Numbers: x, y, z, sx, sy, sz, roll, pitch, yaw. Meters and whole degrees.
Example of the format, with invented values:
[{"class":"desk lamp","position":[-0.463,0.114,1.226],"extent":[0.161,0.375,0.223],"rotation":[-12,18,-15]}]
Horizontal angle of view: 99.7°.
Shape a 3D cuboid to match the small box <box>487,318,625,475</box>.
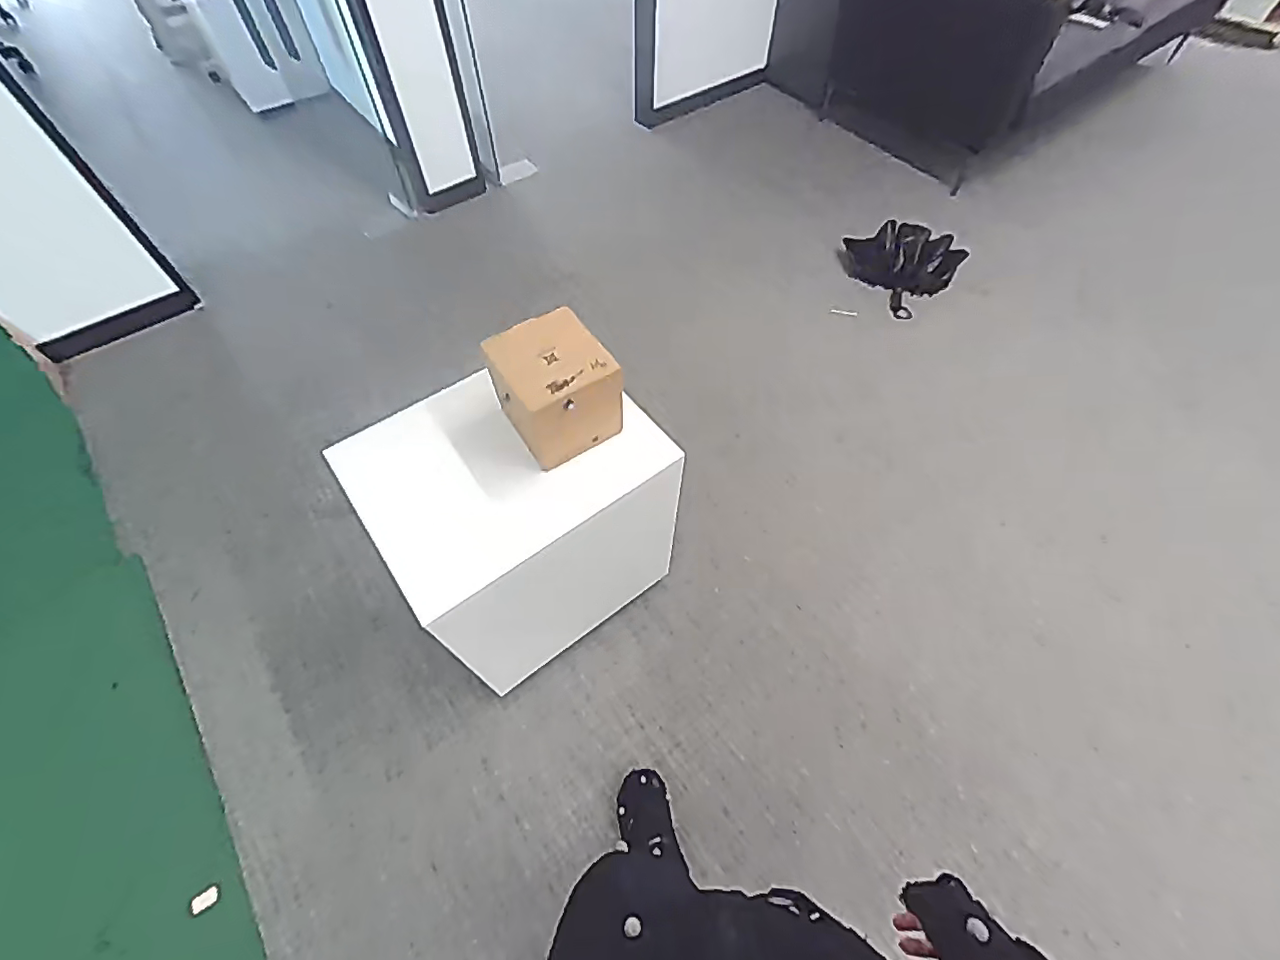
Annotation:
[{"class":"small box","position":[-0.139,-0.141,0.937],"extent":[0.168,0.176,0.179],"rotation":[-30,62,-17]}]
